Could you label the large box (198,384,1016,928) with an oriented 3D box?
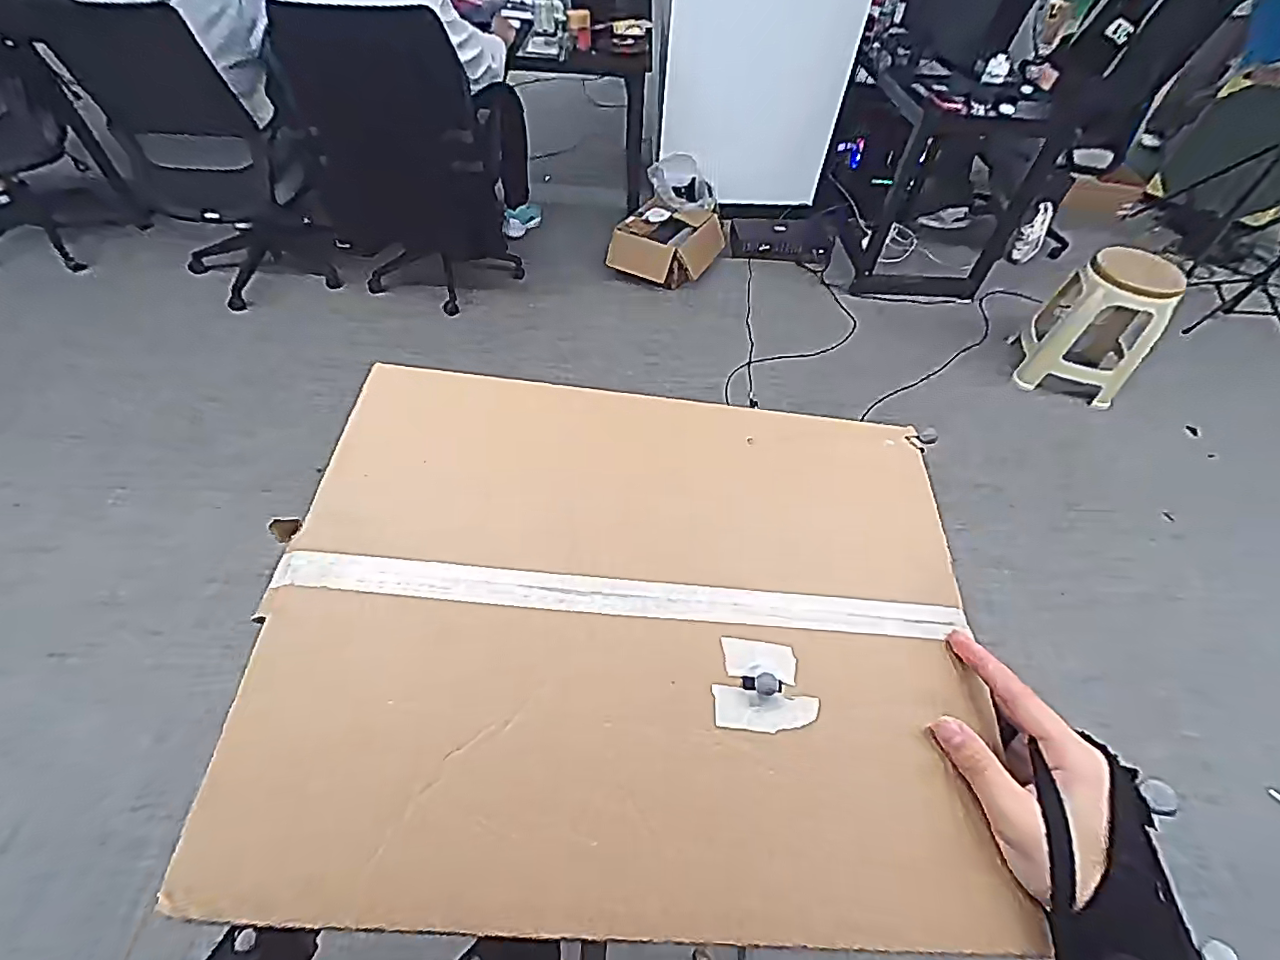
[{"bbox_3d":[-0.018,0.154,0.460,0.408,0.320,0.320,7,59,-5],"label":"large box"}]
